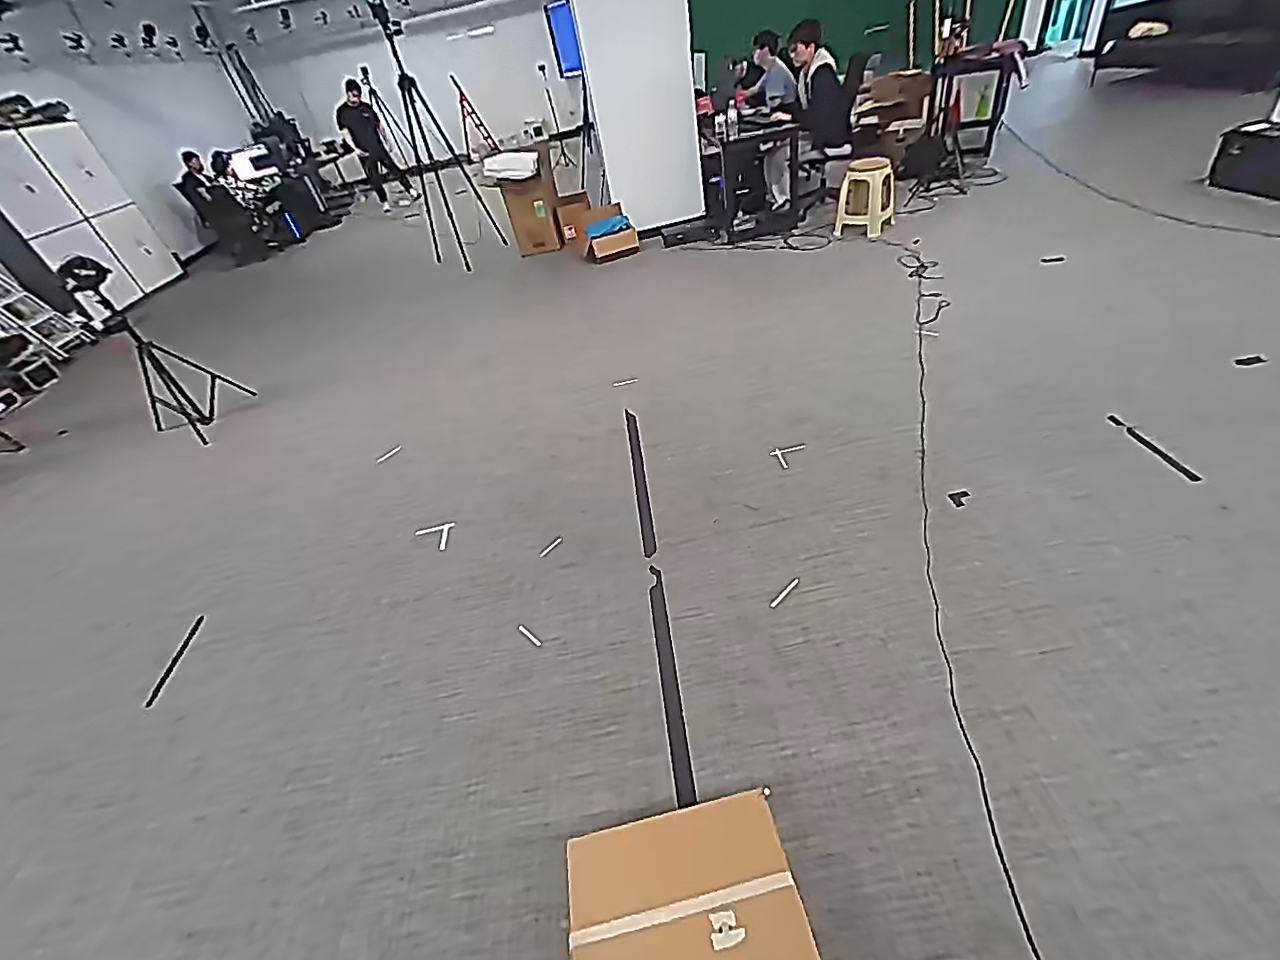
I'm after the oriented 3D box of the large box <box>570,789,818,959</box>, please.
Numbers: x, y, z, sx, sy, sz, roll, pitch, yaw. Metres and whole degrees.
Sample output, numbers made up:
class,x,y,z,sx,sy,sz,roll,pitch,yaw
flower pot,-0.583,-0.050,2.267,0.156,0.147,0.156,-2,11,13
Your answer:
class,x,y,z,sx,sy,sz,roll,pitch,yaw
large box,0.103,0.878,1.057,0.408,0.320,0.320,-14,39,-1
